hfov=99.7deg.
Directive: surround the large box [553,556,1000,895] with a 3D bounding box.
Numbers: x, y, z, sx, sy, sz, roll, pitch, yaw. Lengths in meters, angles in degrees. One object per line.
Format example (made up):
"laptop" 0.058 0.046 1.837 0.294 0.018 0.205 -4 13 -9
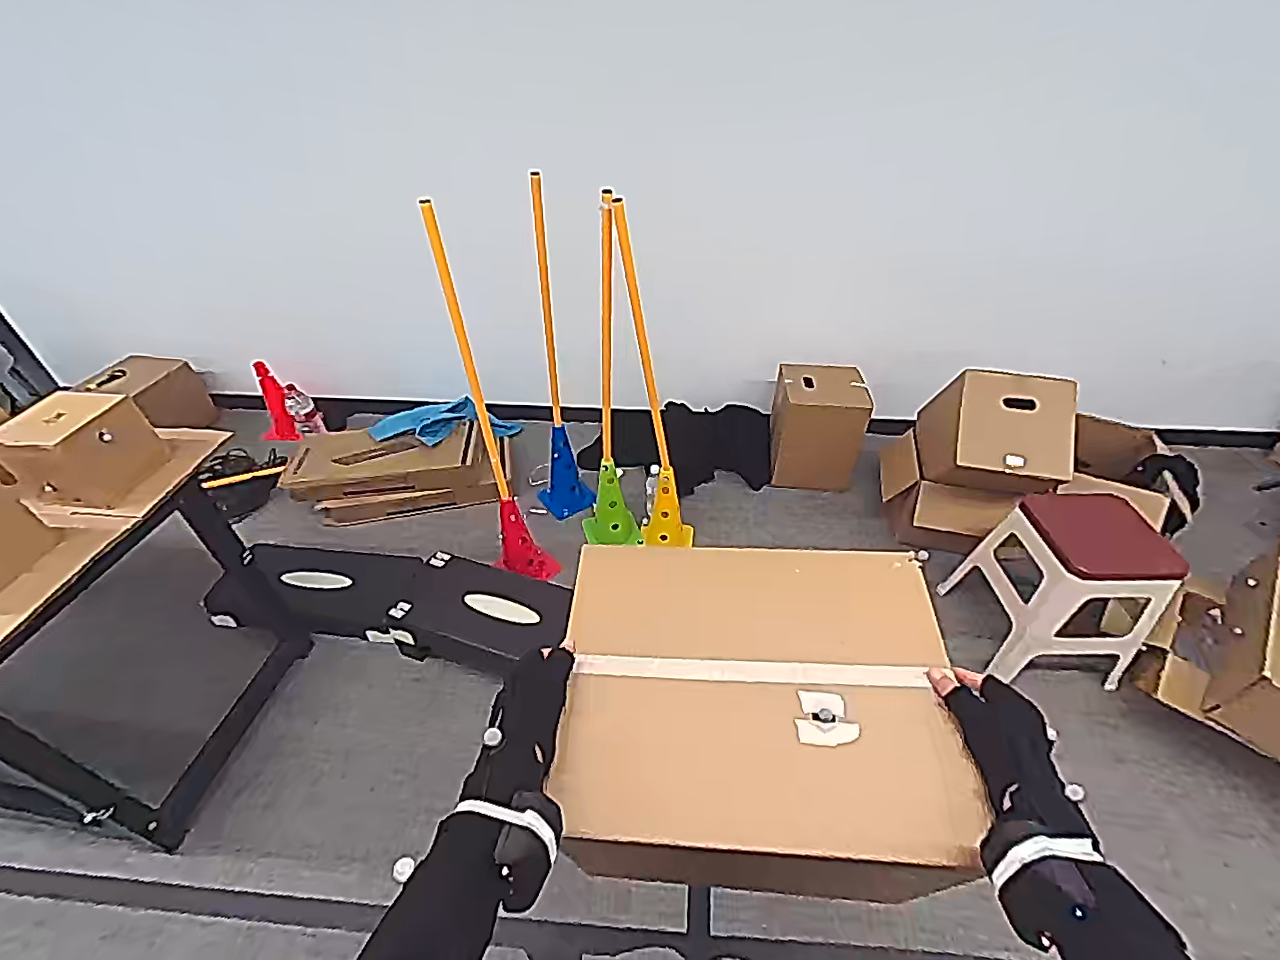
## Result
"large box" 0.131 0.311 0.689 0.408 0.320 0.320 0 48 5
